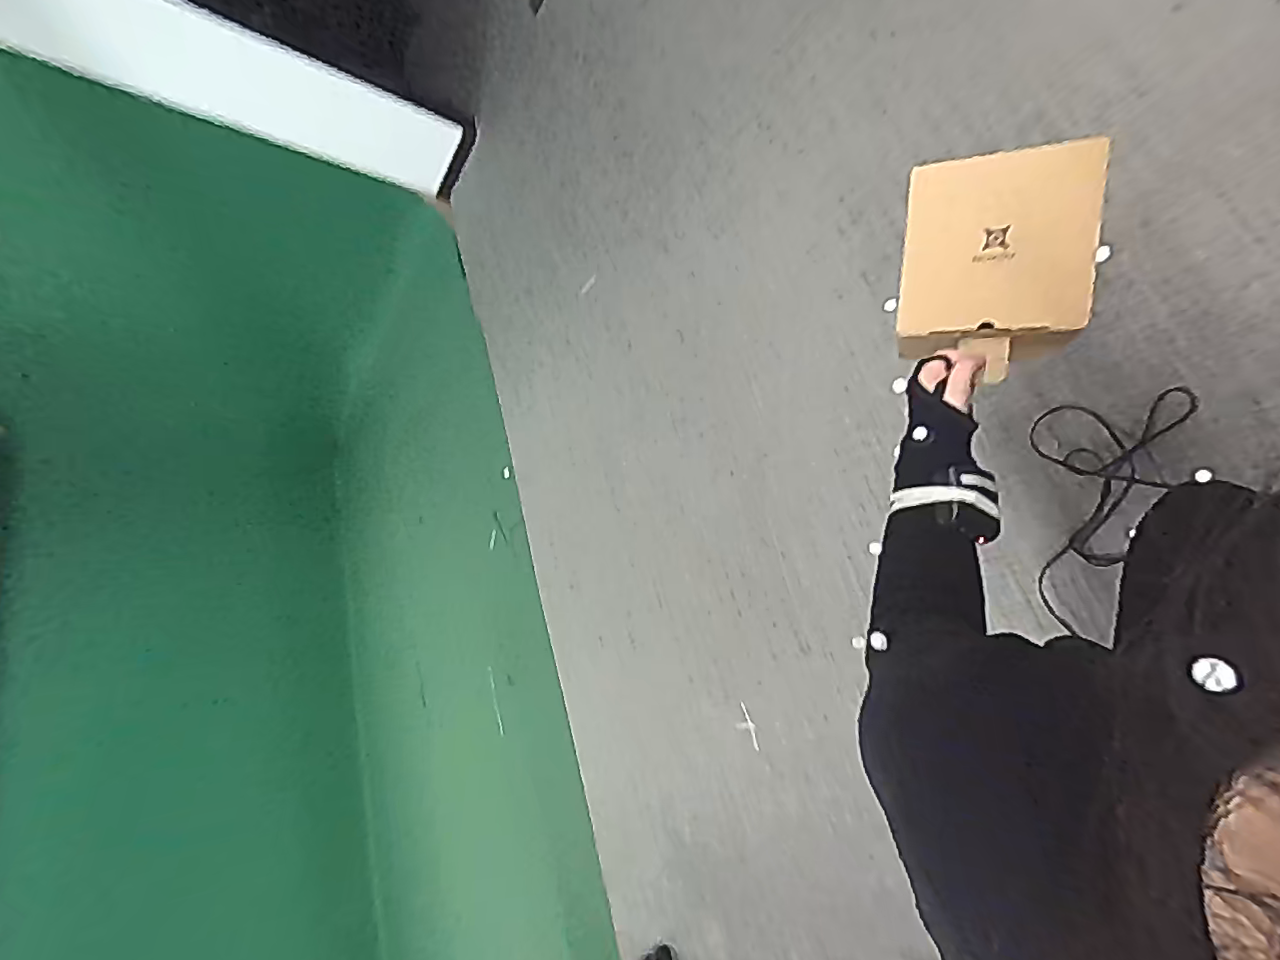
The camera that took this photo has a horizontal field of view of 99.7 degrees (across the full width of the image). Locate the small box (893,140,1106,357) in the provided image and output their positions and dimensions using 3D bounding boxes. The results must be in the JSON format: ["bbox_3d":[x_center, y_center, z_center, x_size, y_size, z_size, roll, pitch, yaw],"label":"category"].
[{"bbox_3d":[0.386,-0.242,0.612,0.168,0.176,0.179,7,96,26],"label":"small box"}]
